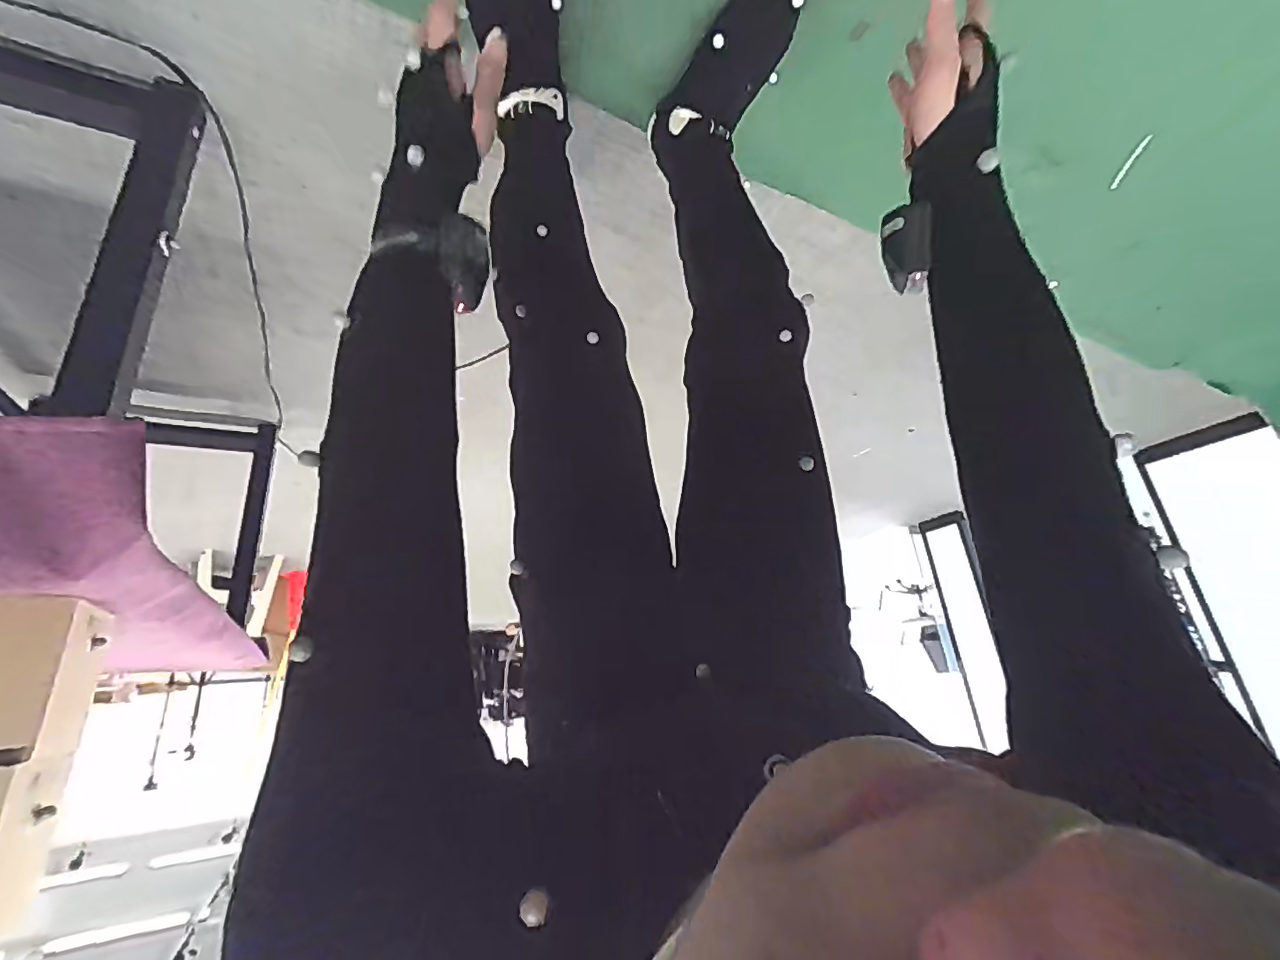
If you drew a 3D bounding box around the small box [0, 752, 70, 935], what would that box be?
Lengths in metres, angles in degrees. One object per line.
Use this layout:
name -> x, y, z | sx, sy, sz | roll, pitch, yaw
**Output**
small box -> -0.712, 0.363, 0.516 | 0.179, 0.176, 0.168 | 8, 157, -28
